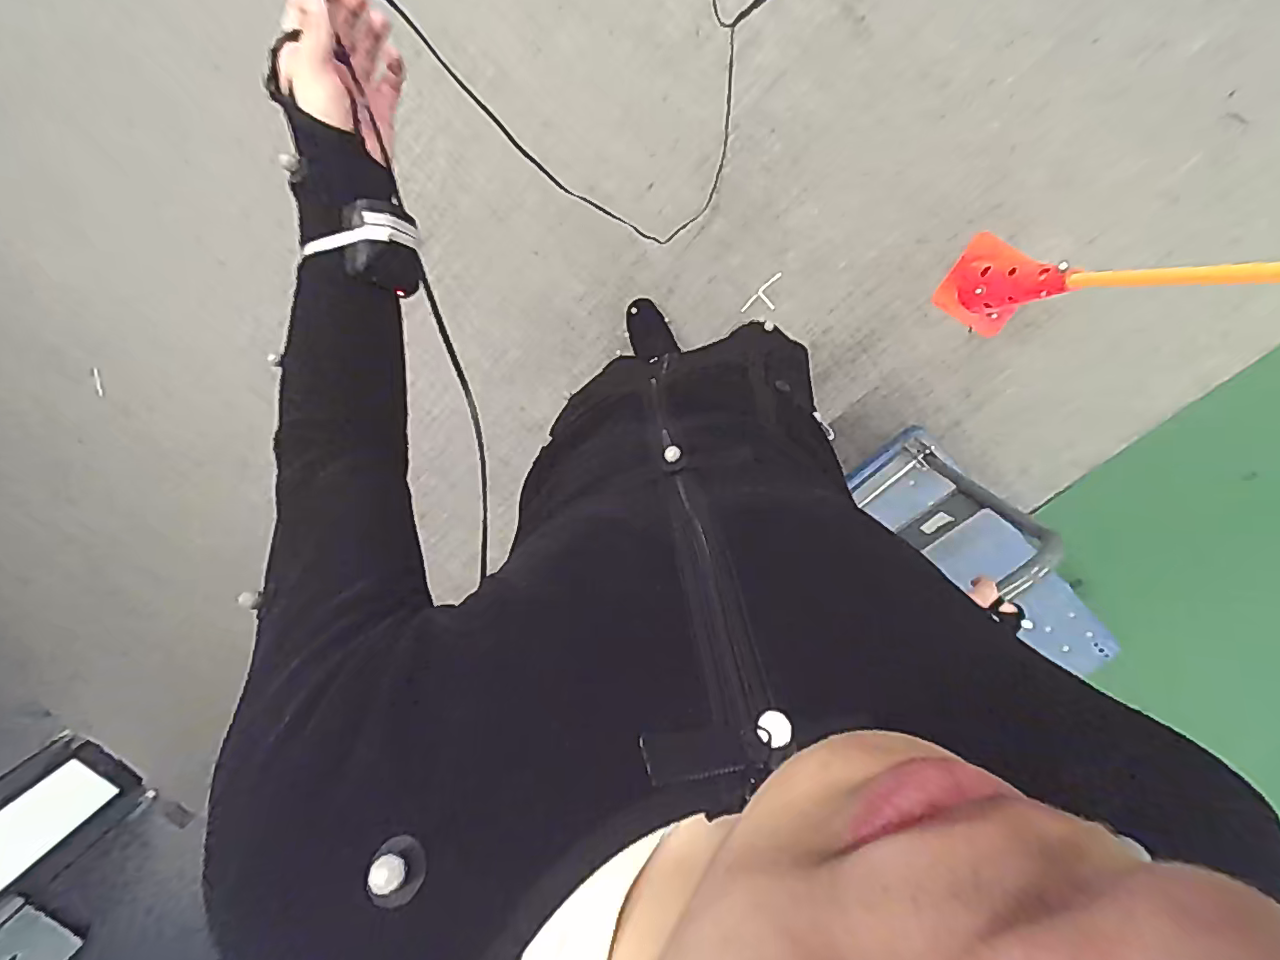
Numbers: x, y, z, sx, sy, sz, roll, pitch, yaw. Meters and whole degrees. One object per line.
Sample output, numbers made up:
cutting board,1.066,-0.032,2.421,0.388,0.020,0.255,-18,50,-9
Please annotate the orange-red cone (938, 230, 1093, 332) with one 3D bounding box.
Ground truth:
orange-red cone,0.873,-0.451,1.211,0.198,0.360,0.199,31,107,-5
